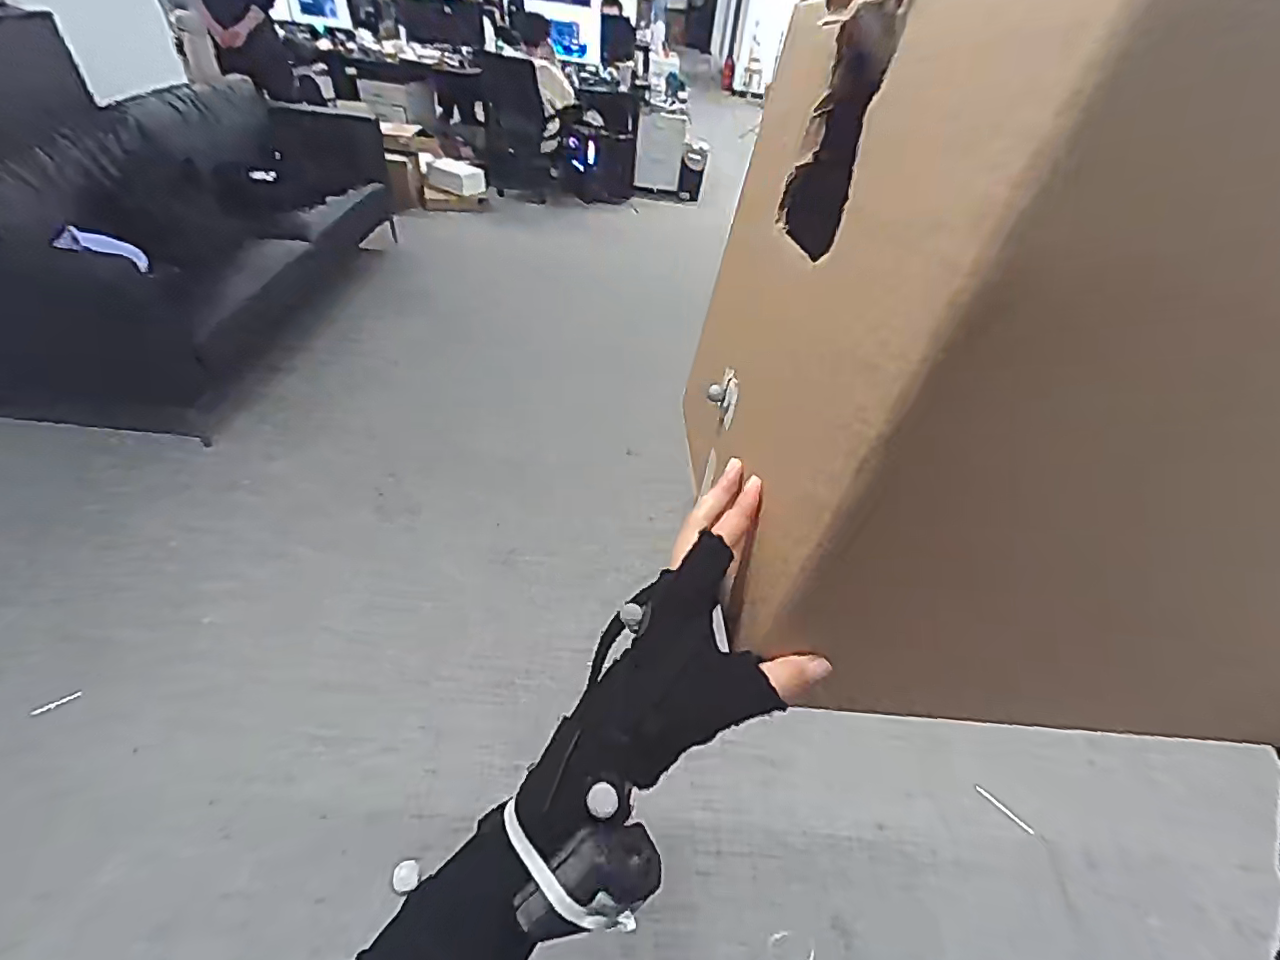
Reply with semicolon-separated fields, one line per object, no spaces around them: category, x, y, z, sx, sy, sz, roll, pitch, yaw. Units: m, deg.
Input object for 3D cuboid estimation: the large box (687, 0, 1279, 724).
large box;0.278;-0.064;0.359;0.408;0.320;0.320;8;38;-10
